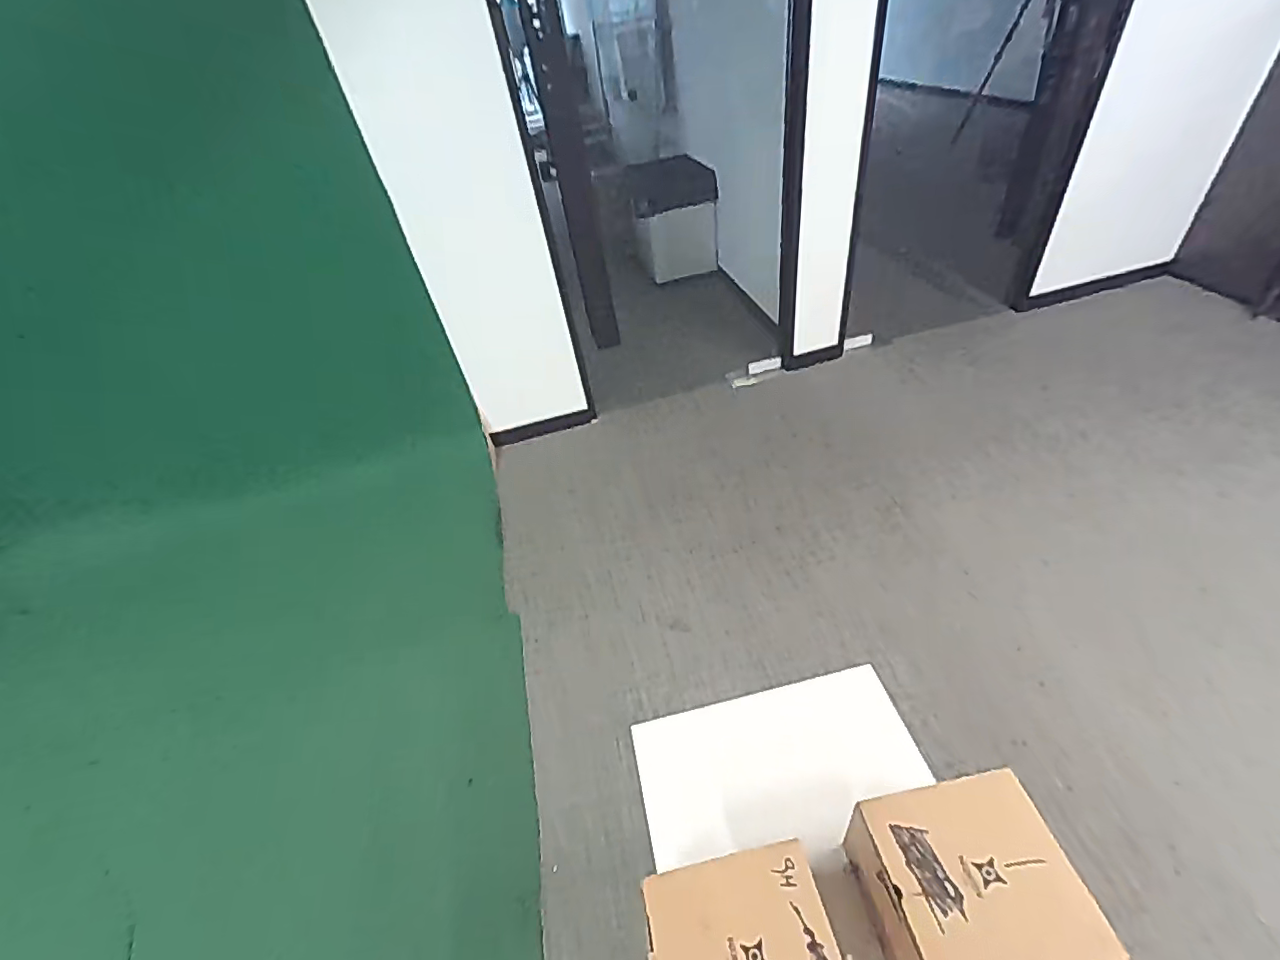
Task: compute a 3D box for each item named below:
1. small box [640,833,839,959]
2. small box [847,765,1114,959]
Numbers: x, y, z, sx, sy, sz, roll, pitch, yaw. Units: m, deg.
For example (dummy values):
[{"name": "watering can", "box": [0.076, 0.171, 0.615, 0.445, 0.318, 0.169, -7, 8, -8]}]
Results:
[{"name": "small box", "box": [0.108, 0.508, 0.571, 0.179, 0.176, 0.168, -12, 43, -3]}, {"name": "small box", "box": [0.343, 0.445, 0.593, 0.179, 0.176, 0.168, -12, 42, -1]}]
